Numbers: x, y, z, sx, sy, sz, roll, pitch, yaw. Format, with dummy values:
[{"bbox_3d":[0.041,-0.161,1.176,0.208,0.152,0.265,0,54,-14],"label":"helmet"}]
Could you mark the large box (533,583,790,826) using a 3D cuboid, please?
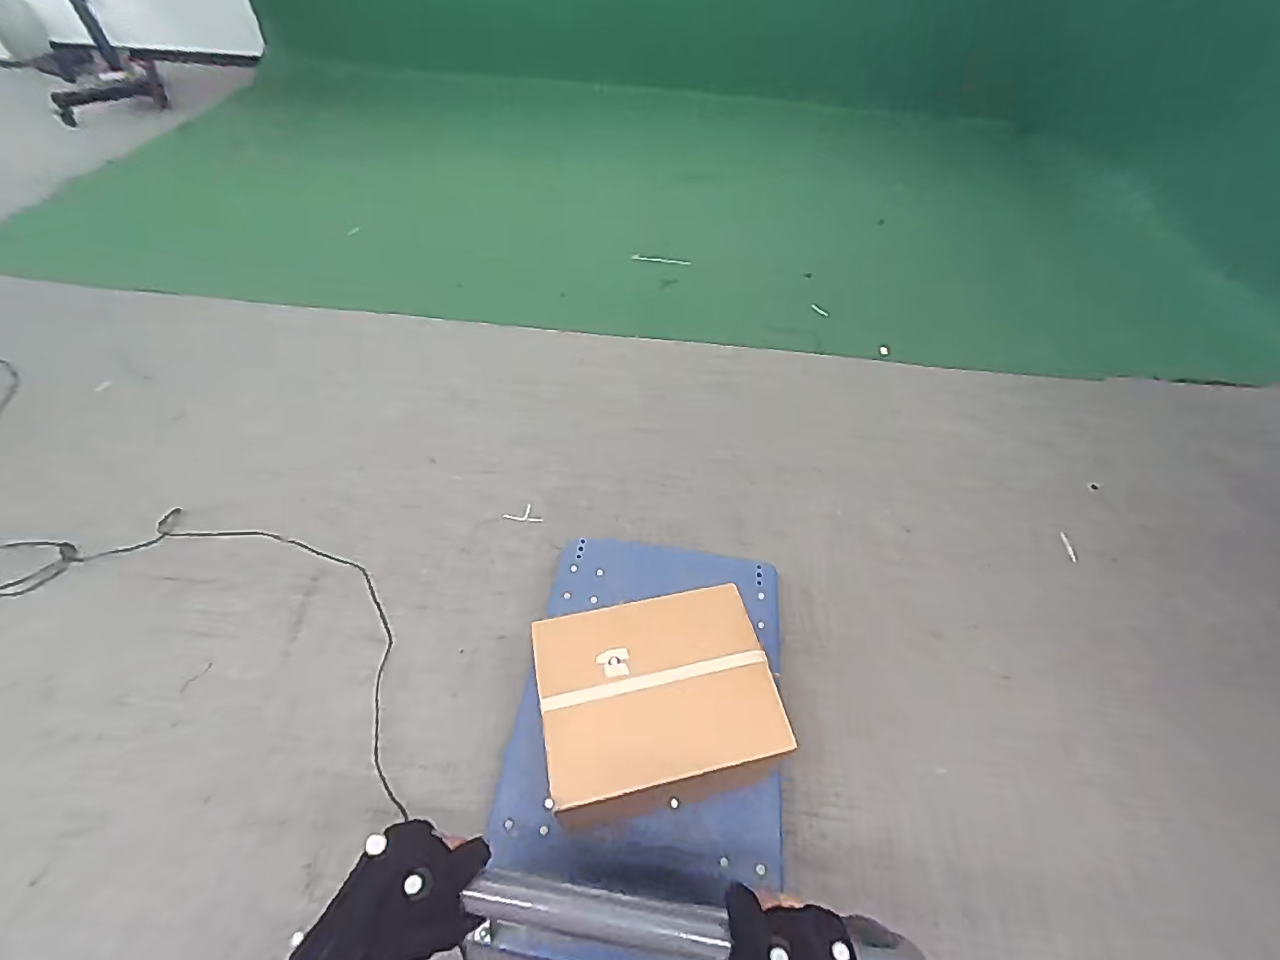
[{"bbox_3d":[0.024,0.447,1.074,0.408,0.320,0.320,-10,52,-10],"label":"large box"}]
